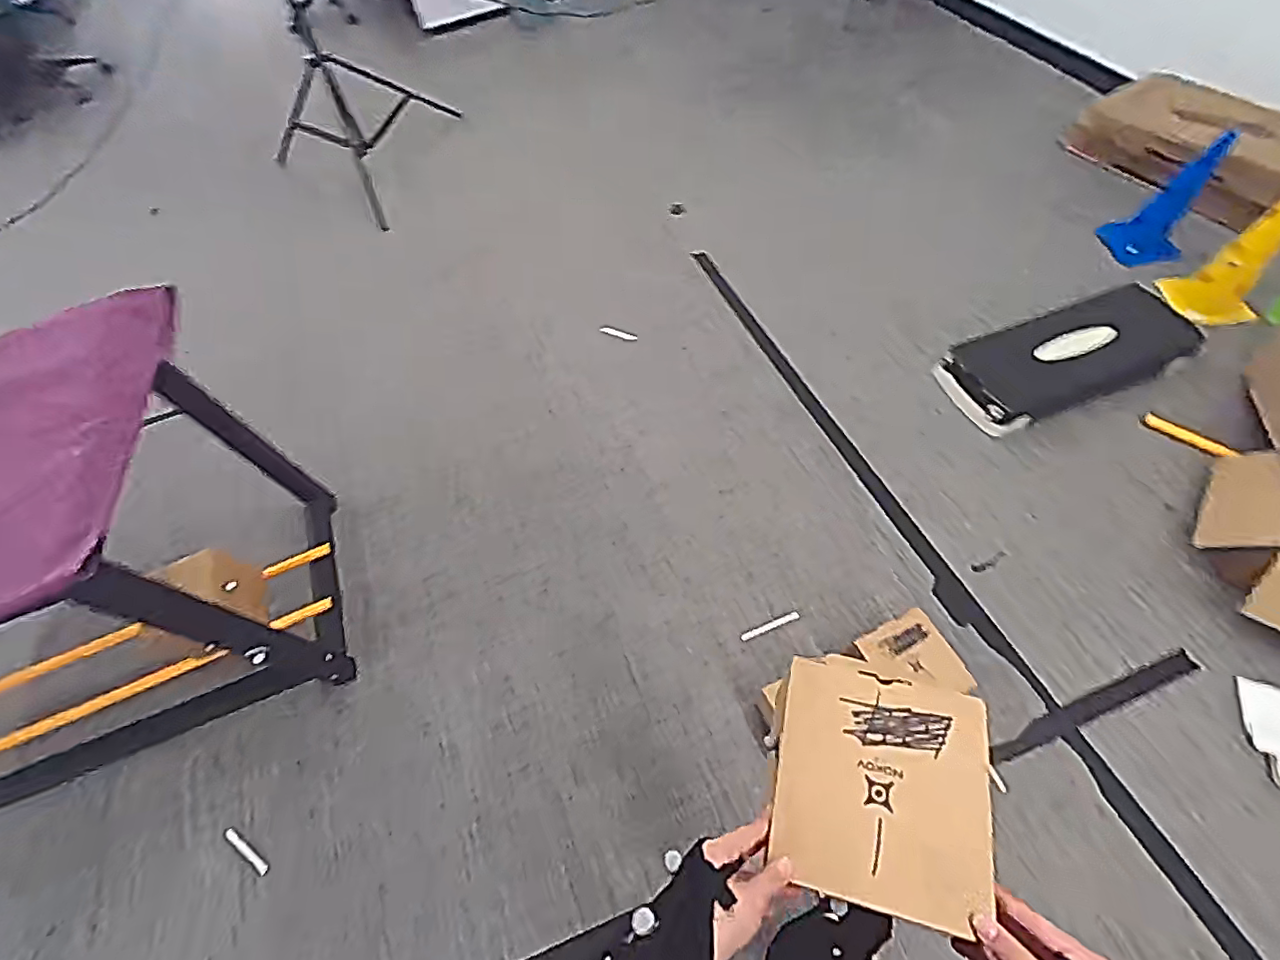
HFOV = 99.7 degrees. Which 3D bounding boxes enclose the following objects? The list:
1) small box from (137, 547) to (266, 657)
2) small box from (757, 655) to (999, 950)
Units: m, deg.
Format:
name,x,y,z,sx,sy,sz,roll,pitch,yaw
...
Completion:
name,x,y,z,sx,sy,sz,roll,pitch,yaw
small box,-1.015,0.289,1.266,0.168,0.176,0.179,-23,61,-6
small box,0.205,0.288,0.506,0.168,0.176,0.179,9,60,14
